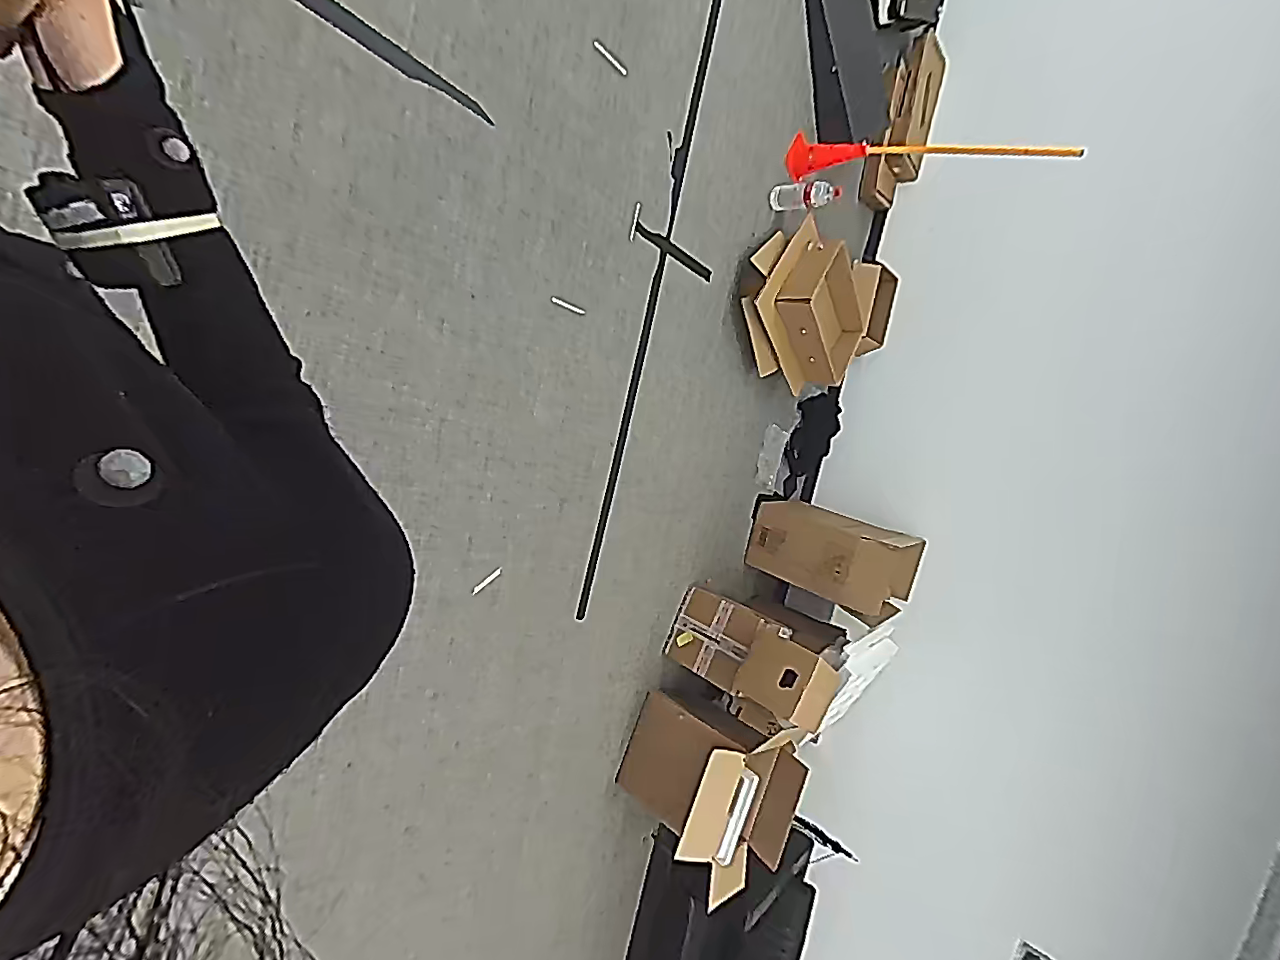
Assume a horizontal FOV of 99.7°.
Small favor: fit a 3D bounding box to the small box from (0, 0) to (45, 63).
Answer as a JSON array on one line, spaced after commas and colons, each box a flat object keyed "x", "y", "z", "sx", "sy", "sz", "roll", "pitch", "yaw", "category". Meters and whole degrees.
[{"x": -0.341, "y": -0.295, "z": 0.190, "sx": 0.168, "sy": 0.176, "sz": 0.179, "roll": -14, "pitch": 109, "yaw": -53, "category": "small box"}]
